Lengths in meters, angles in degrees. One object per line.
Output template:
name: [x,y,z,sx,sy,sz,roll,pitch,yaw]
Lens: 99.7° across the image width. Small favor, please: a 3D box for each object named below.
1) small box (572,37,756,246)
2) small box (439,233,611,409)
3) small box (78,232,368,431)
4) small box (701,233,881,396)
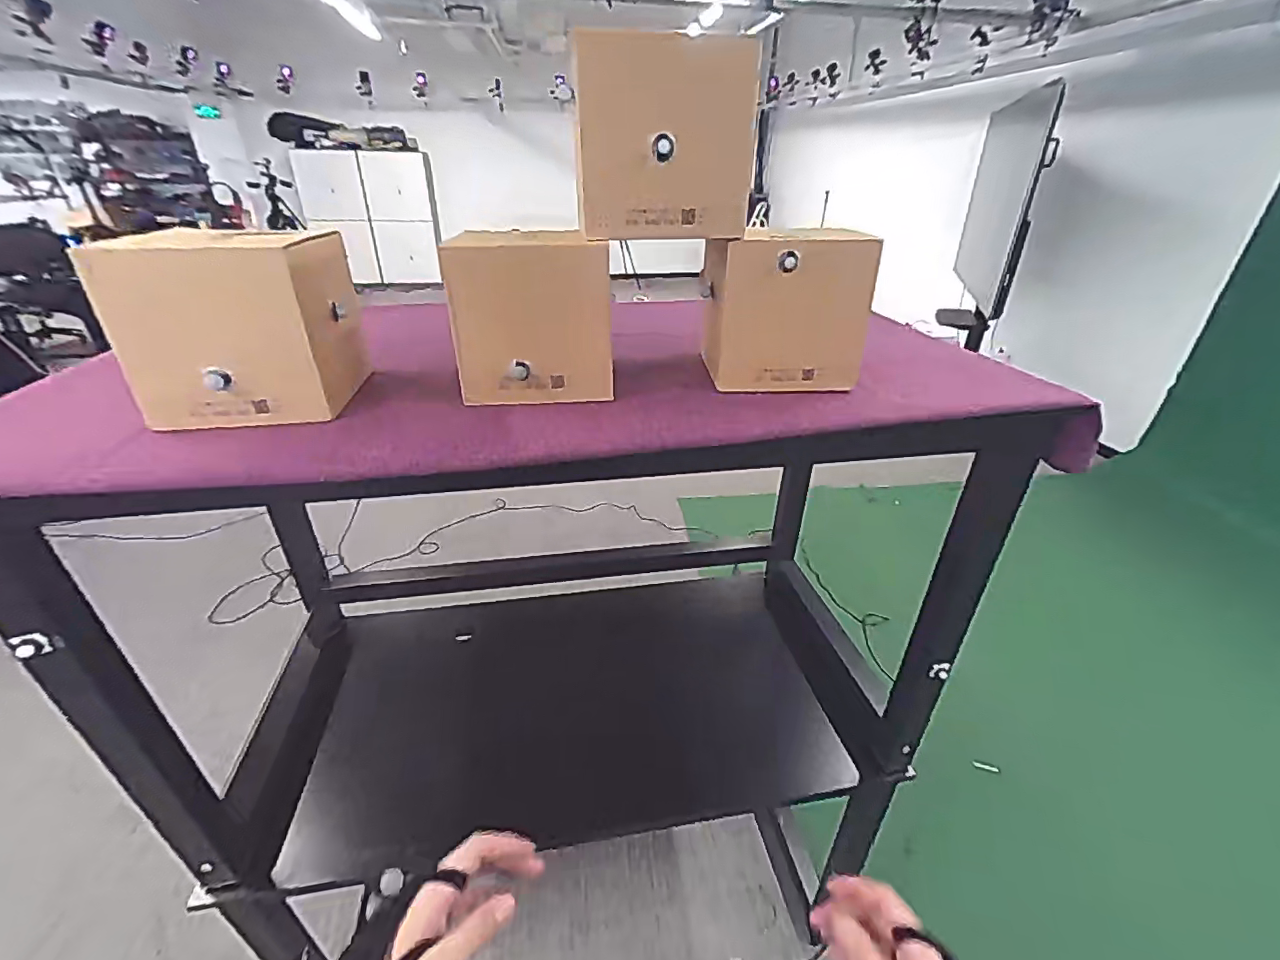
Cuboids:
small box: [0.015,-0.348,0.578,0.168,0.176,0.179,-3,29,-6]
small box: [-0.122,-0.191,0.634,0.168,0.176,0.179,-4,30,-6]
small box: [-0.405,-0.162,0.571,0.168,0.176,0.179,-5,30,-10]
small box: [0.169,-0.211,0.672,0.168,0.176,0.179,-1,28,-1]
